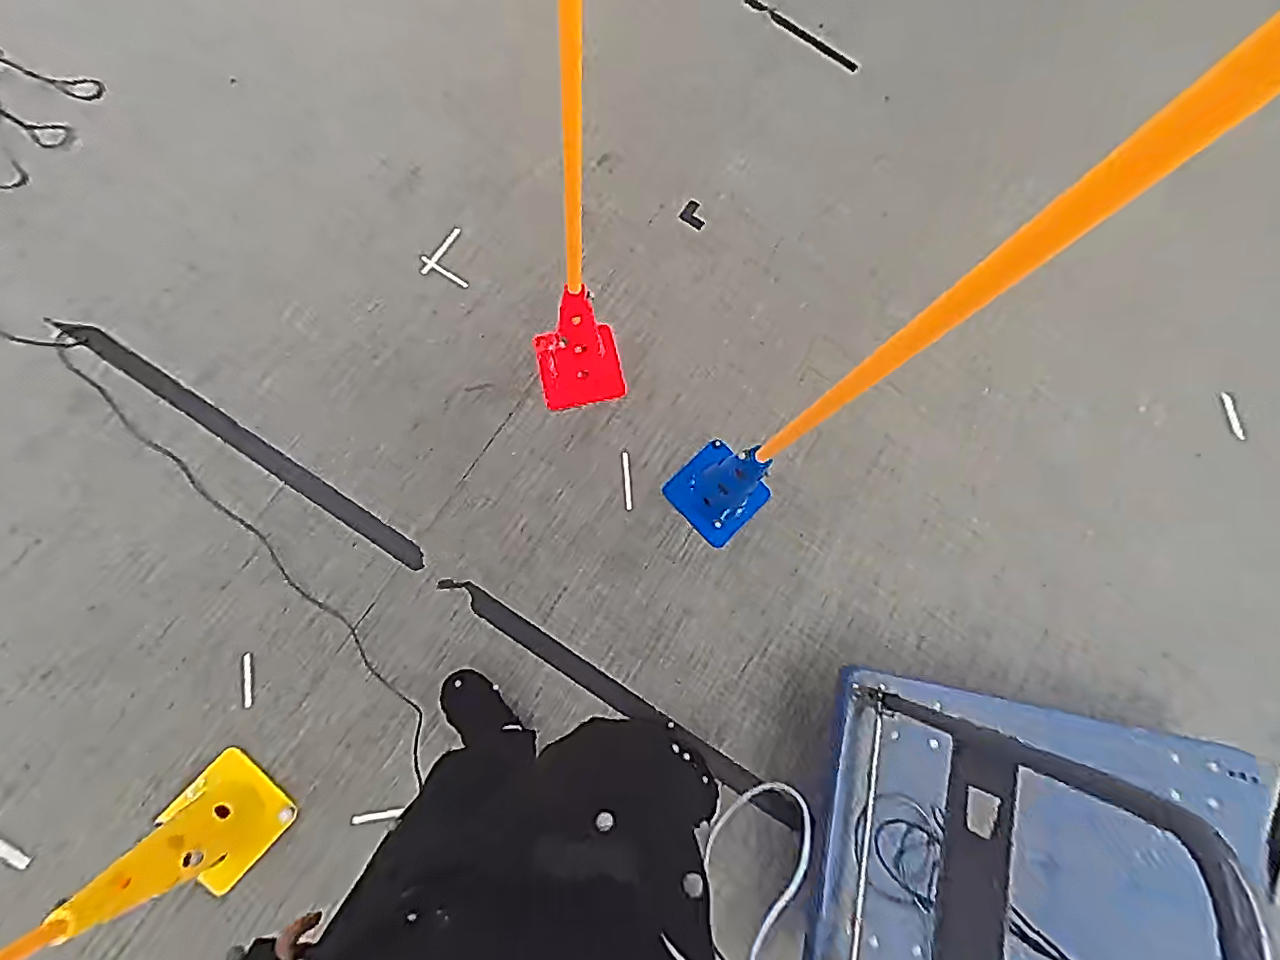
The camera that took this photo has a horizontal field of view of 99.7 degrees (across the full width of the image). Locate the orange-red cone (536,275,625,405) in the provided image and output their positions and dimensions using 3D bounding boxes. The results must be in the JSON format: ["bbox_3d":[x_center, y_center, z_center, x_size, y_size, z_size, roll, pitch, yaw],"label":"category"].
[{"bbox_3d":[-0.132,-0.320,1.152,0.198,0.360,0.199,-11,80,-6],"label":"orange-red cone"}]

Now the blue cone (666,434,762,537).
[{"bbox_3d":[0.190,-0.016,1.128,0.193,0.380,0.192,-41,83,-12],"label":"blue cone"}]
